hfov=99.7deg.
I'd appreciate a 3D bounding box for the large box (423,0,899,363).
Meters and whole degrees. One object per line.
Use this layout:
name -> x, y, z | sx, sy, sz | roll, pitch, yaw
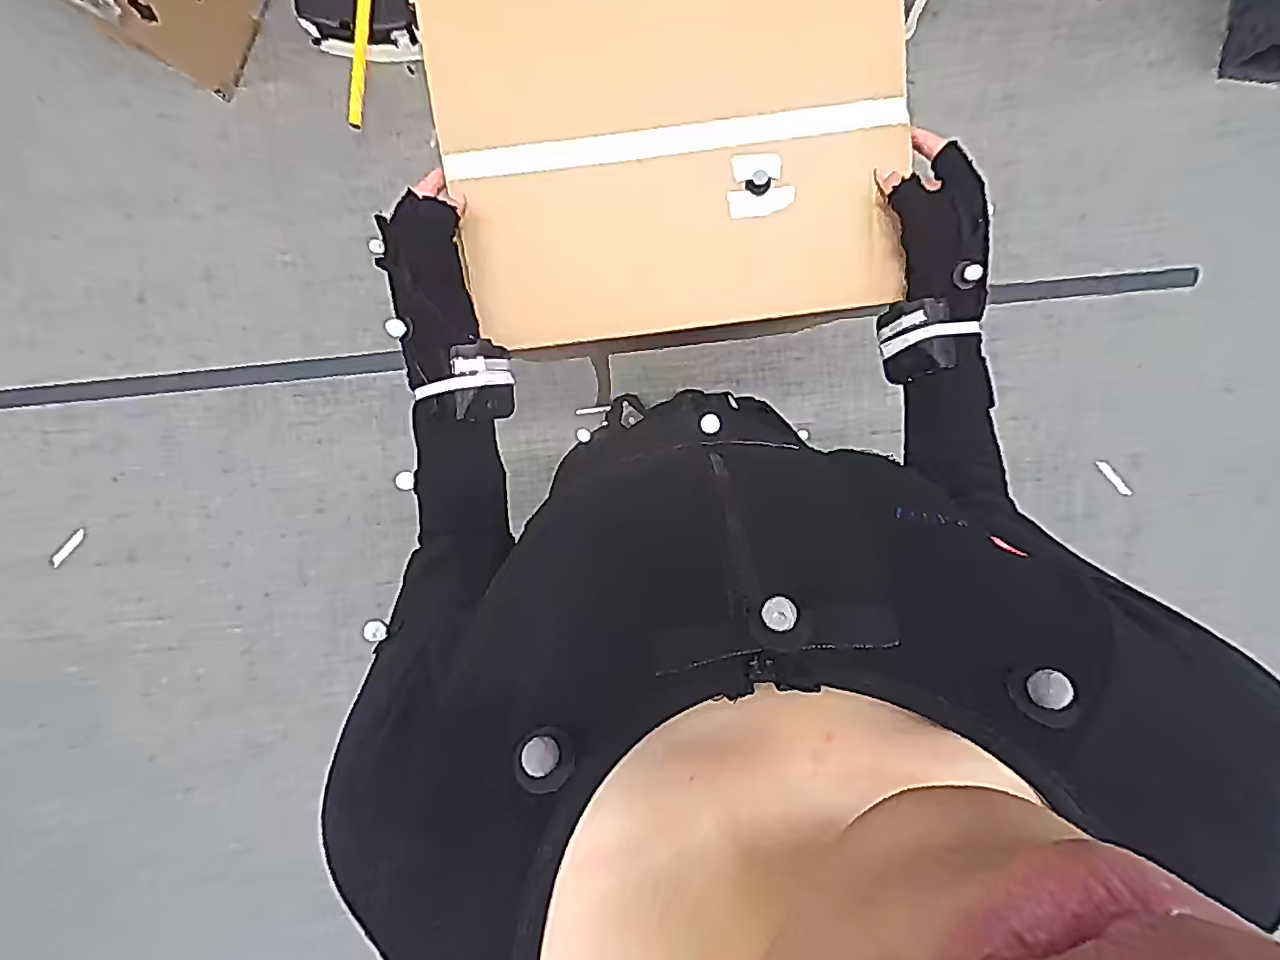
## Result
large box -> 0.023, -0.325, 0.630 | 0.408, 0.320, 0.320 | -7, 100, -1
